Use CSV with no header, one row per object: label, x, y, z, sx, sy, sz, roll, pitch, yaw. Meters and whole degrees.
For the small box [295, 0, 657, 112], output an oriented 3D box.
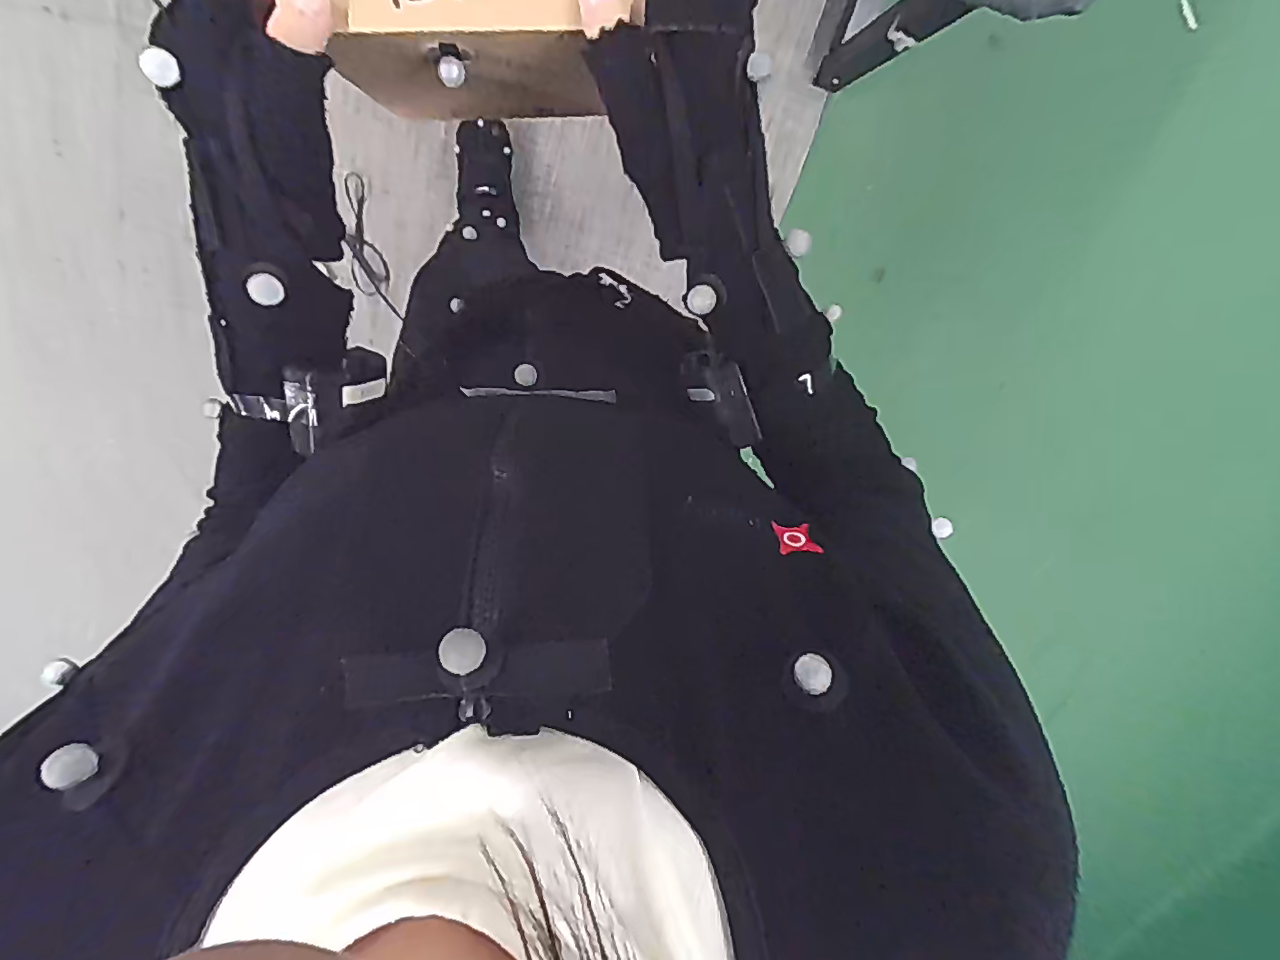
small box,-0.084,-0.315,0.278,0.168,0.176,0.179,-4,112,-5
